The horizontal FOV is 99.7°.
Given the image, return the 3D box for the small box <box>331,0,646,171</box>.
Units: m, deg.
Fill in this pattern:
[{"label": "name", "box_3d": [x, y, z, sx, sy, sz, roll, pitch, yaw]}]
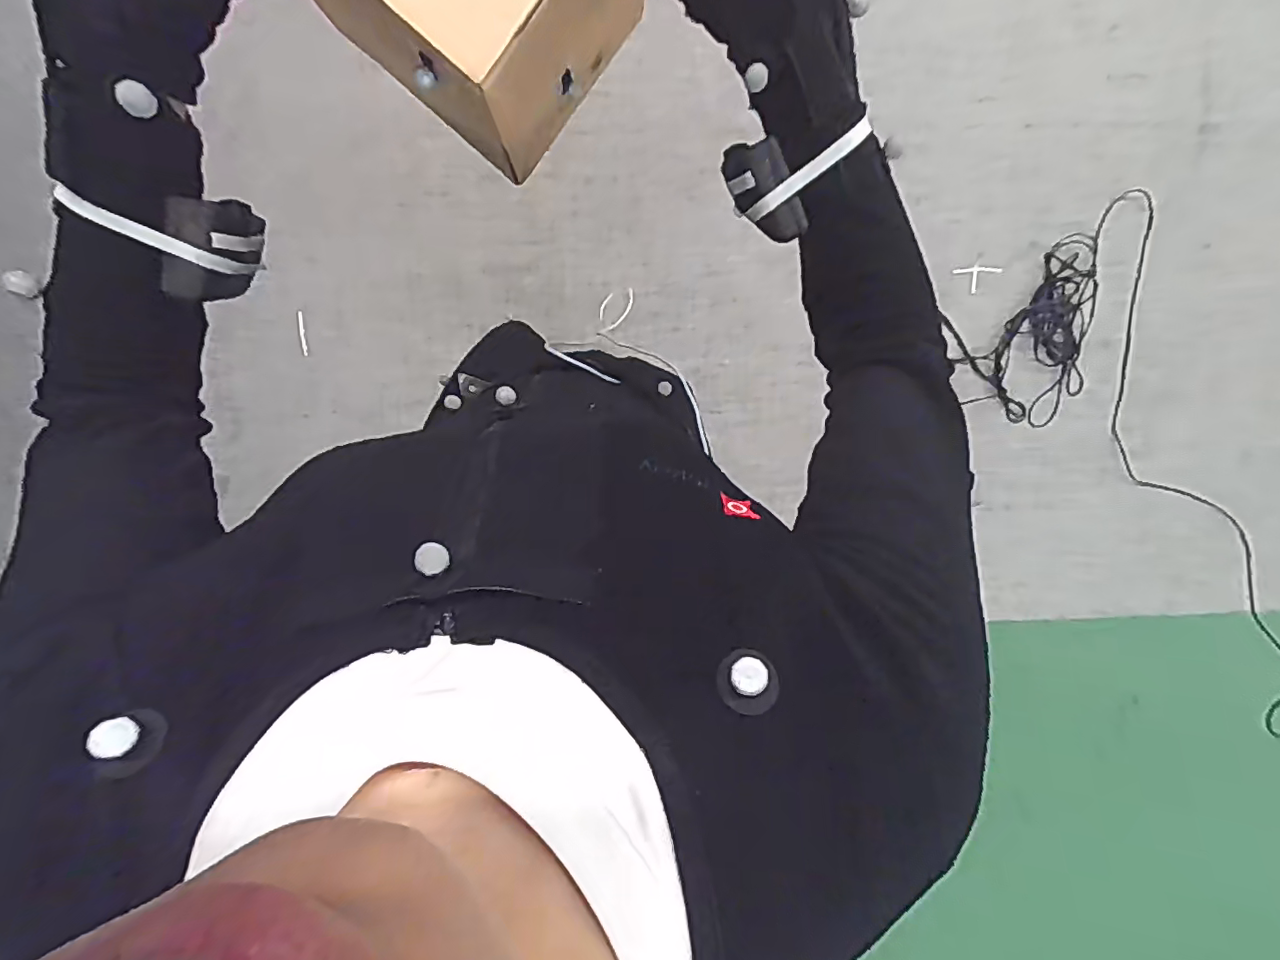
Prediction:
[{"label": "small box", "box_3d": [-0.104, -0.344, 0.349, 0.179, 0.176, 0.168, 38, 96, -14]}]
